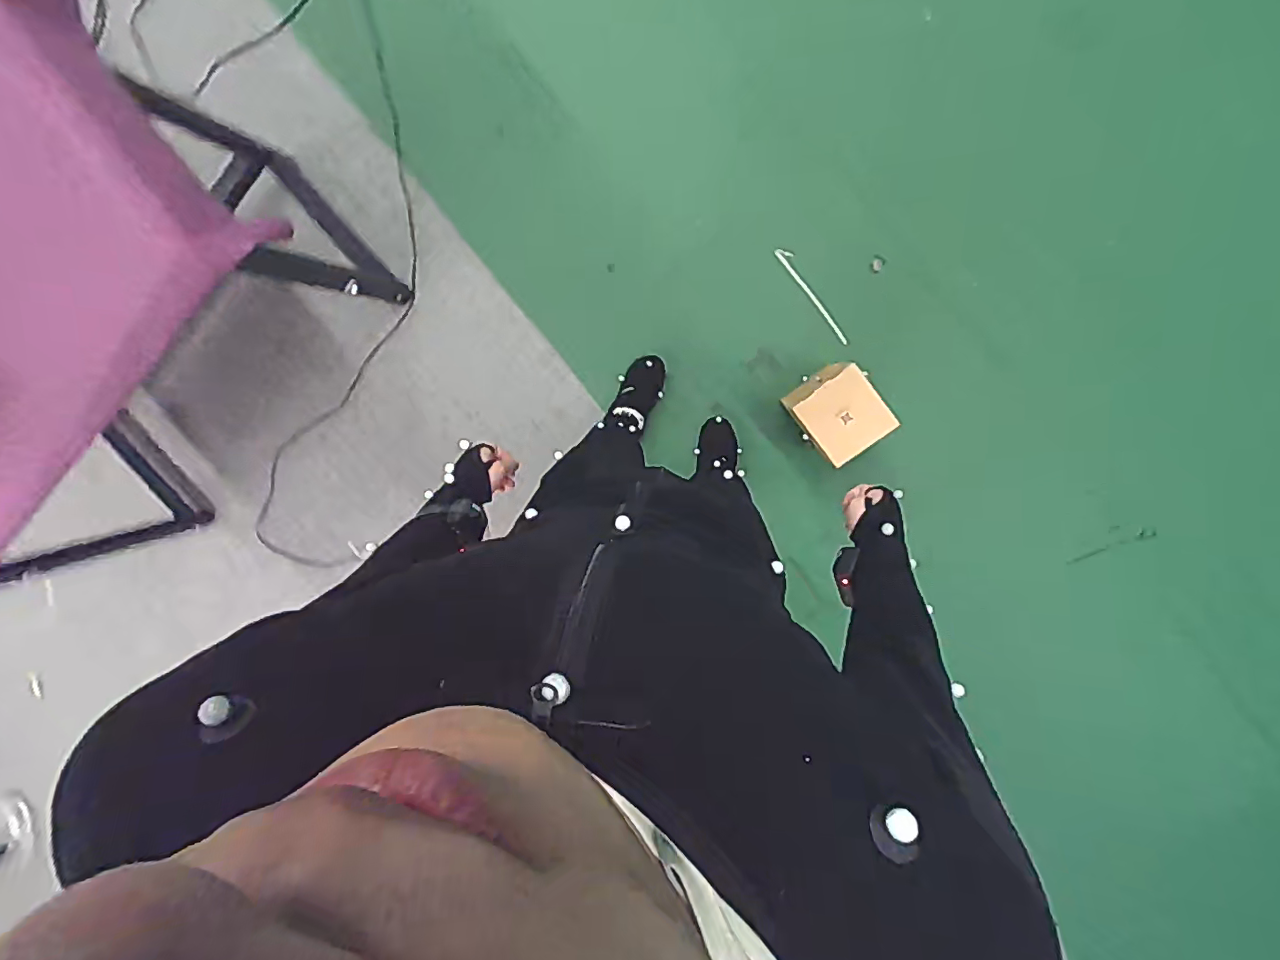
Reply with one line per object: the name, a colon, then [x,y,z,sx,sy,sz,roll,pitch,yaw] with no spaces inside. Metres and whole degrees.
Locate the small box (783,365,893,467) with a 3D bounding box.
small box: [0.461,-0.158,1.284,0.168,0.176,0.179,-37,93,14]

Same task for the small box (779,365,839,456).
small box: [0.489,-0.192,1.440,0.168,0.176,0.179,-36,94,14]
